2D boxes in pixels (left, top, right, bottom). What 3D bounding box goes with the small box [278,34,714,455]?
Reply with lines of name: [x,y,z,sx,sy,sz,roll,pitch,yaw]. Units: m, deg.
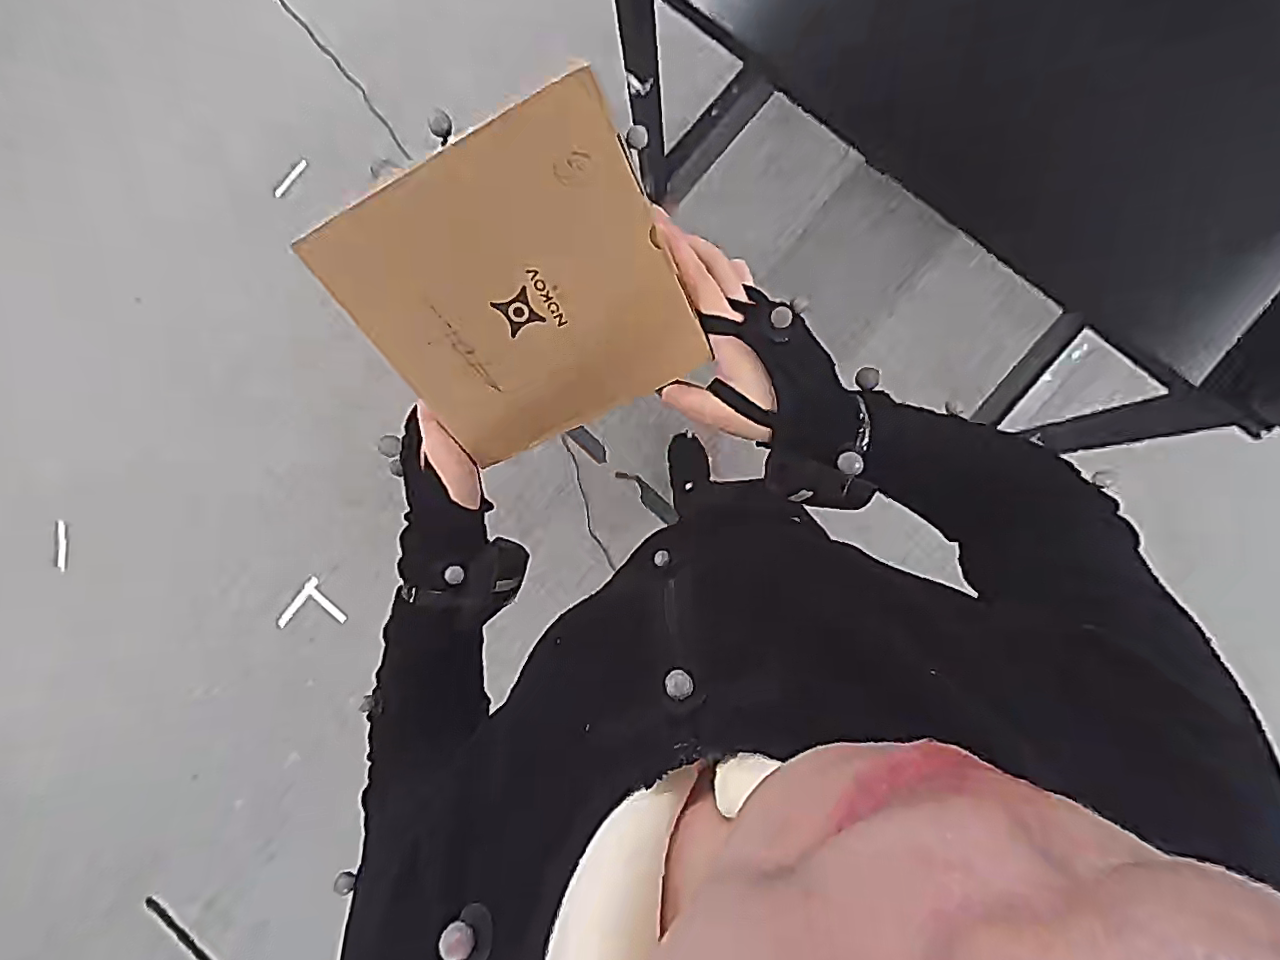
small box: [-0.074,-0.153,0.351,0.179,0.176,0.168,-23,128,11]
